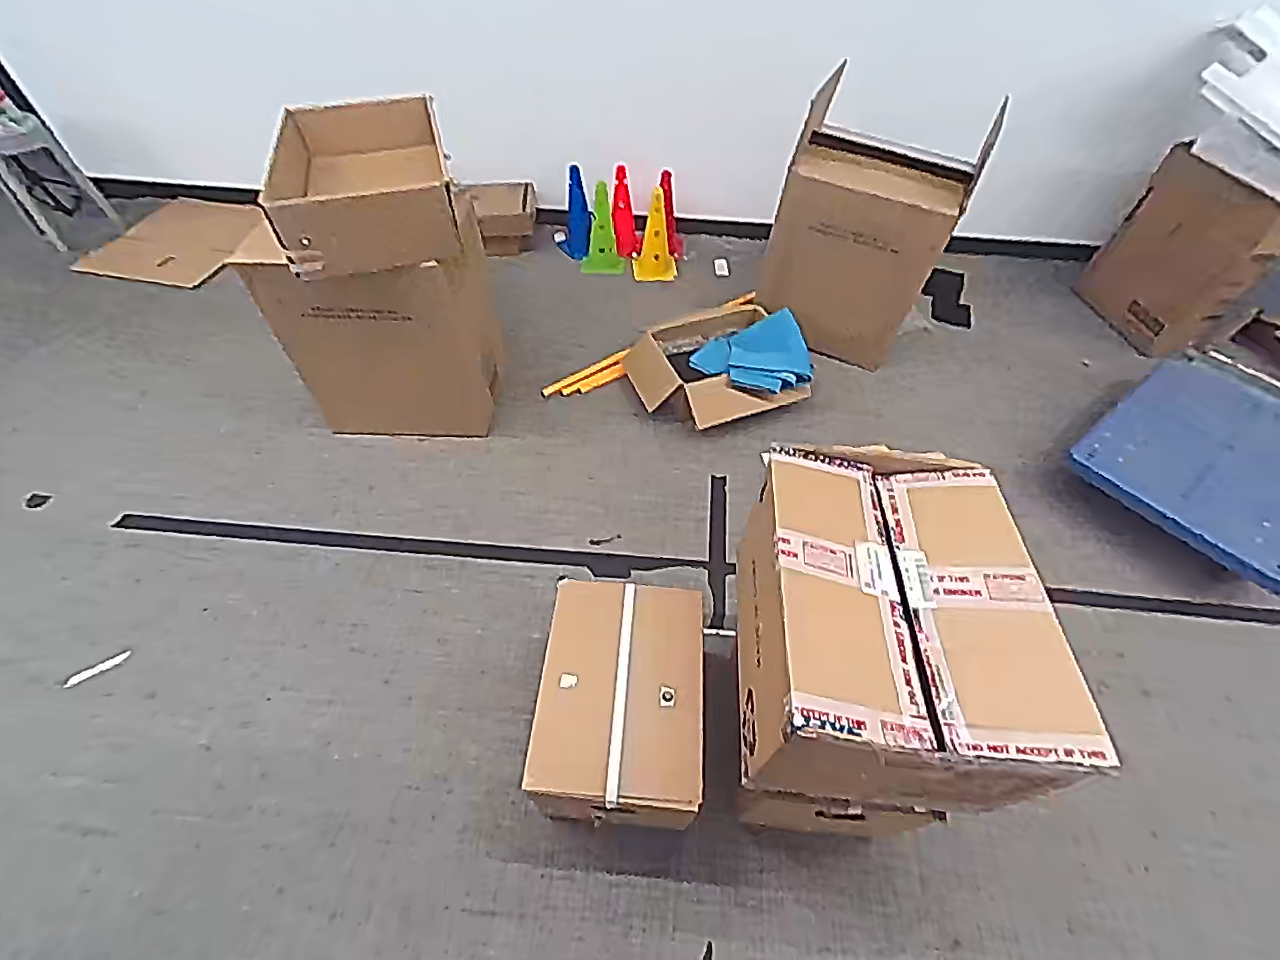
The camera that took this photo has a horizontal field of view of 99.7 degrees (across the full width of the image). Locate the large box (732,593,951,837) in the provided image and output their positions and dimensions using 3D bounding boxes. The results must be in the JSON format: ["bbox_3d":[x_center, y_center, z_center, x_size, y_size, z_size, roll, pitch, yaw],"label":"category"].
[{"bbox_3d":[0.382,0.499,1.154,0.320,0.320,0.408,4,51,1],"label":"large box"}]
